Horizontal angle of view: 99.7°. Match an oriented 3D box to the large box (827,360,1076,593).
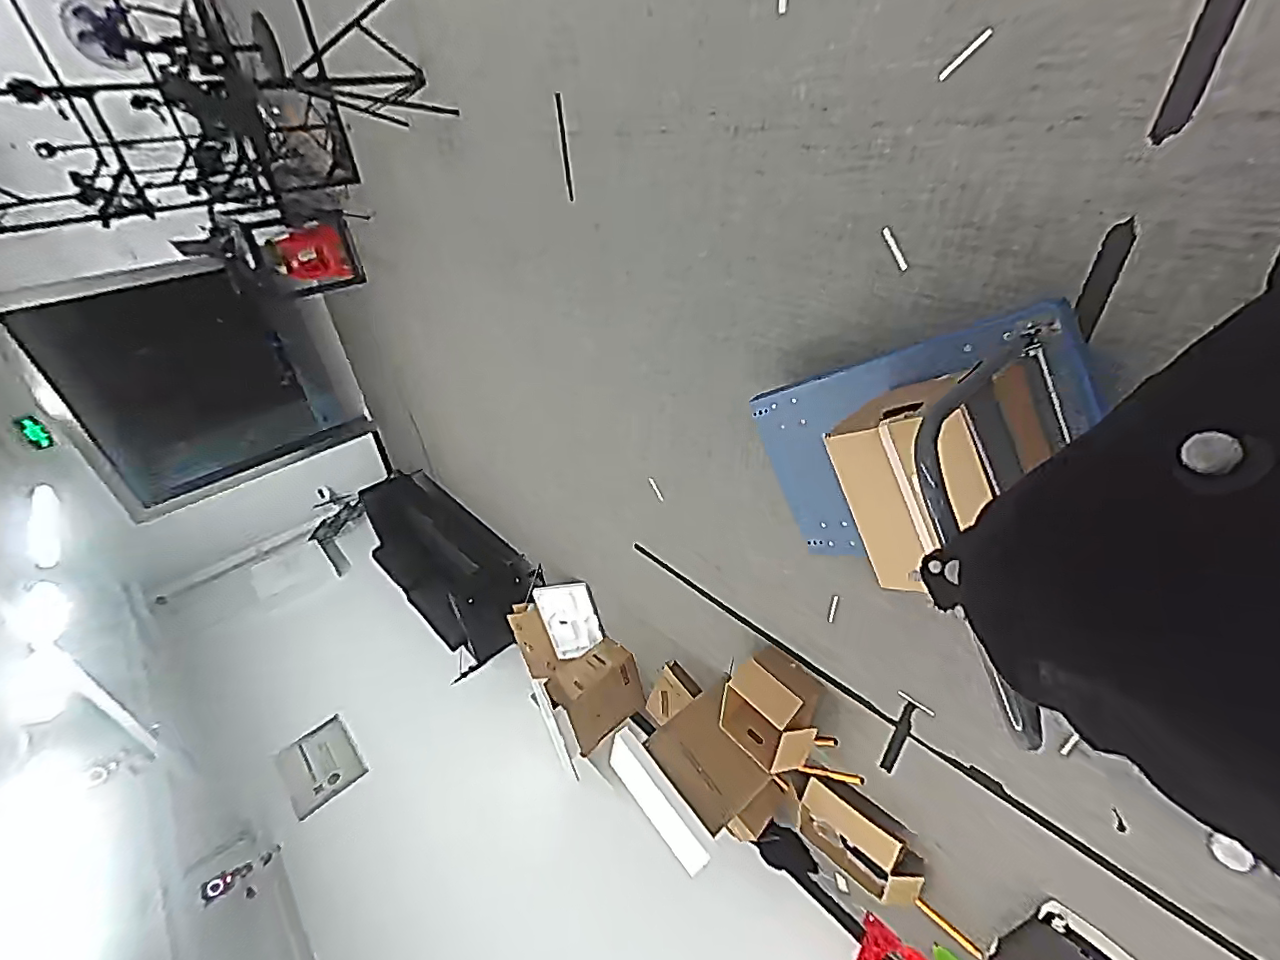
[{"bbox_3d":[0.701,-0.002,1.221,0.320,0.320,0.408,-12,105,56],"label":"large box"}]
